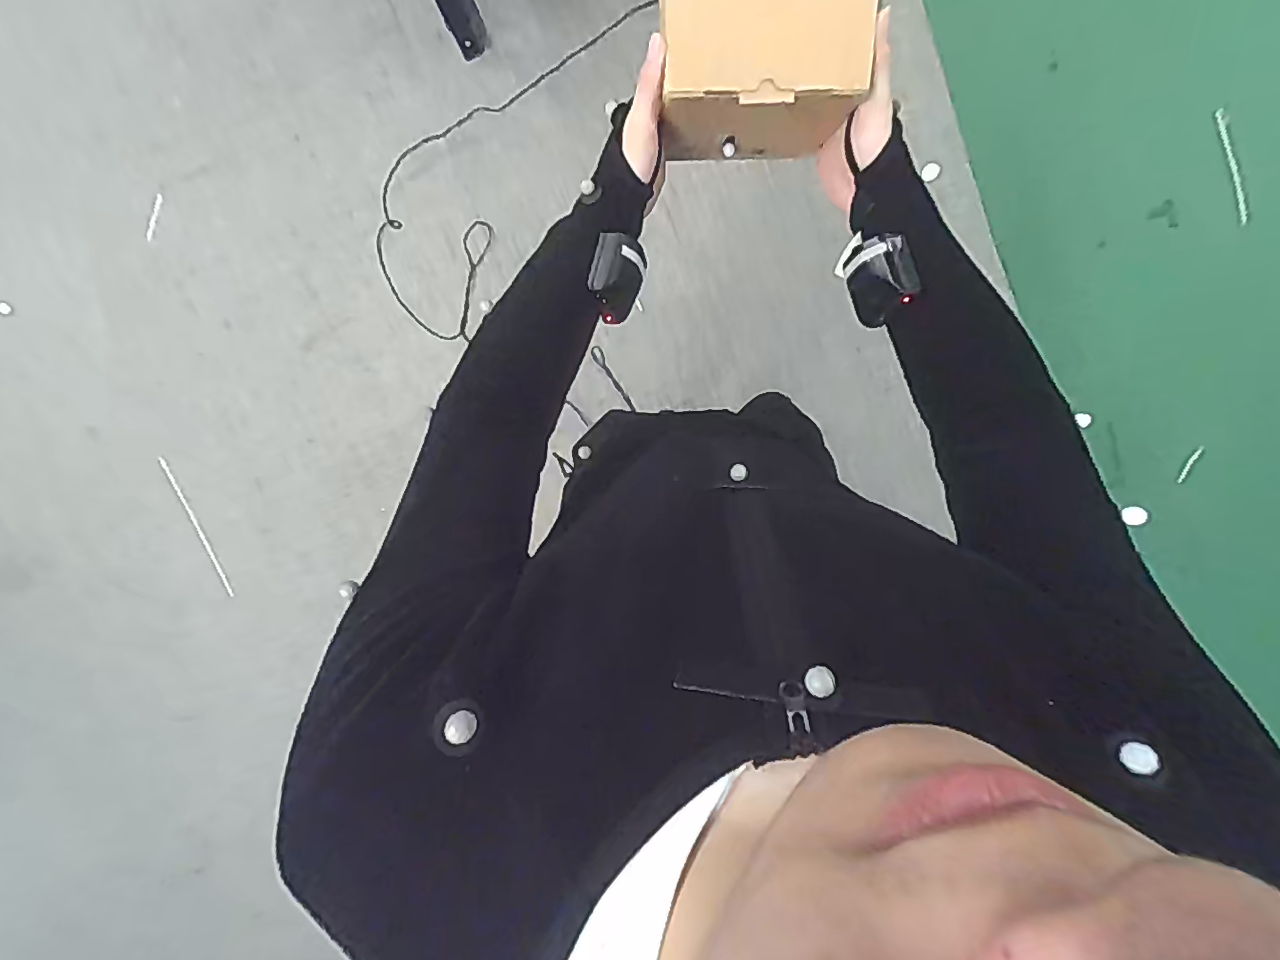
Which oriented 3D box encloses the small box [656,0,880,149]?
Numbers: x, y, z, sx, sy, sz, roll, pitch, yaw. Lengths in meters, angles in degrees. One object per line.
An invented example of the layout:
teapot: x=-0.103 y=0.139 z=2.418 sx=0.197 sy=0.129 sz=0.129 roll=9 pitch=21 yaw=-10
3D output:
small box: x=0.100 y=-0.419 z=0.481 sx=0.168 sy=0.176 sz=0.179 roll=-2 pitch=107 yaw=0
